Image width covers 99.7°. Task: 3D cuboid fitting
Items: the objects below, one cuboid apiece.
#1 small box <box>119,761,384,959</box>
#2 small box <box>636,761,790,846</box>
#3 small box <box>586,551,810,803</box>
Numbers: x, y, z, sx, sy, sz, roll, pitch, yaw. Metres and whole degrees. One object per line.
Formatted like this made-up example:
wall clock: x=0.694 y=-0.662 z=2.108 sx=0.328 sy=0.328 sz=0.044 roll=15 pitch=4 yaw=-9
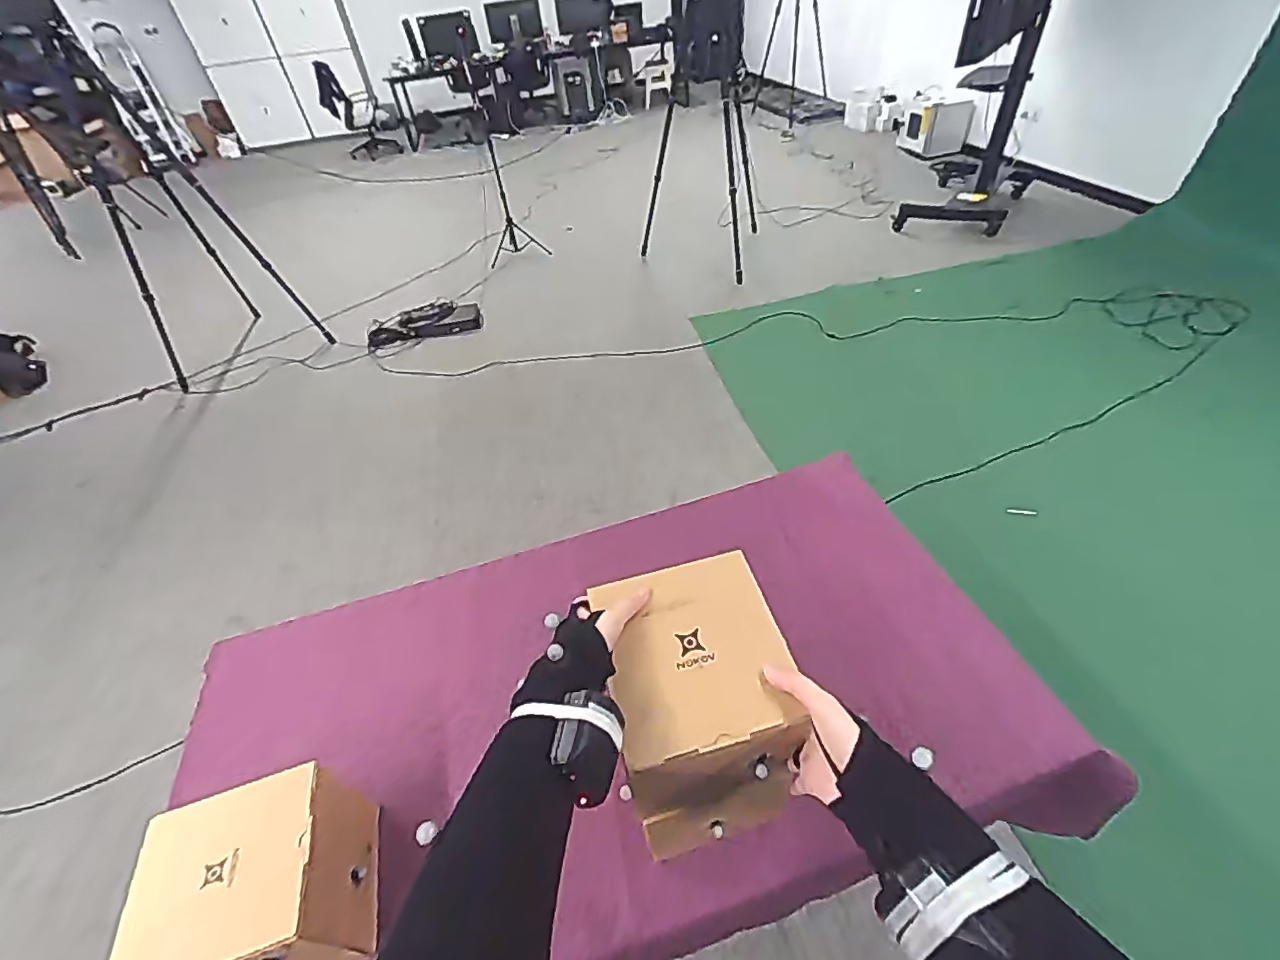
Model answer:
small box: x=-0.414 y=0.457 z=0.608 sx=0.179 sy=0.176 sz=0.168 roll=-17 pitch=44 yaw=-10
small box: x=0.068 y=0.323 z=0.667 sx=0.168 sy=0.176 sz=0.179 roll=-15 pitch=44 yaw=-7
small box: x=0.051 y=0.205 z=0.550 sx=0.168 sy=0.176 sz=0.179 roll=-14 pitch=47 yaw=-6
